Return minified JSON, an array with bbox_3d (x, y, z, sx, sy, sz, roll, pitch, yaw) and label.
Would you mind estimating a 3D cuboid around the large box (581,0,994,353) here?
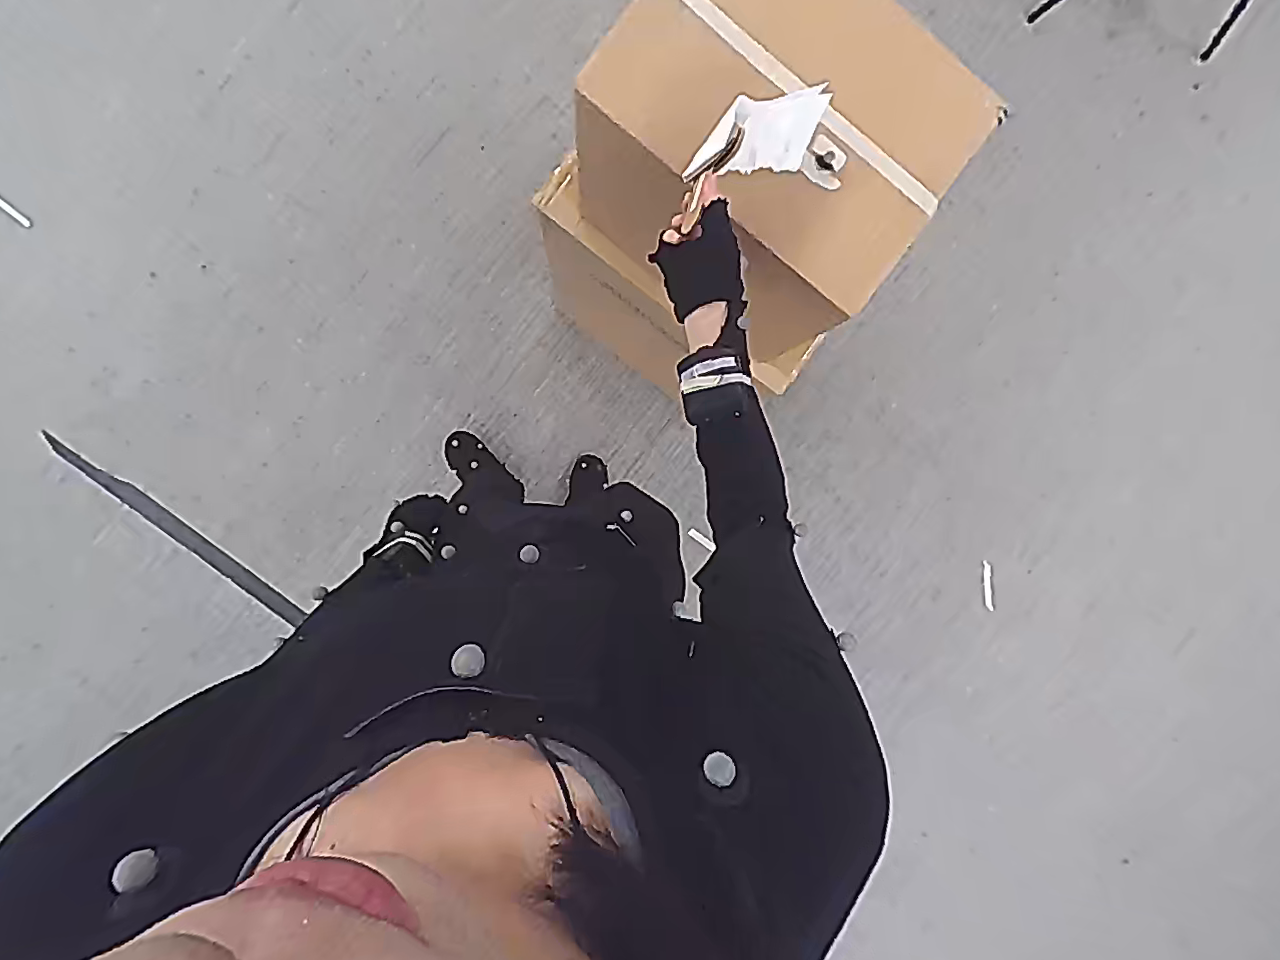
[{"bbox_3d":[0.164,-0.445,0.771,0.408,0.320,0.320,37,89,-7],"label":"large box"}]
